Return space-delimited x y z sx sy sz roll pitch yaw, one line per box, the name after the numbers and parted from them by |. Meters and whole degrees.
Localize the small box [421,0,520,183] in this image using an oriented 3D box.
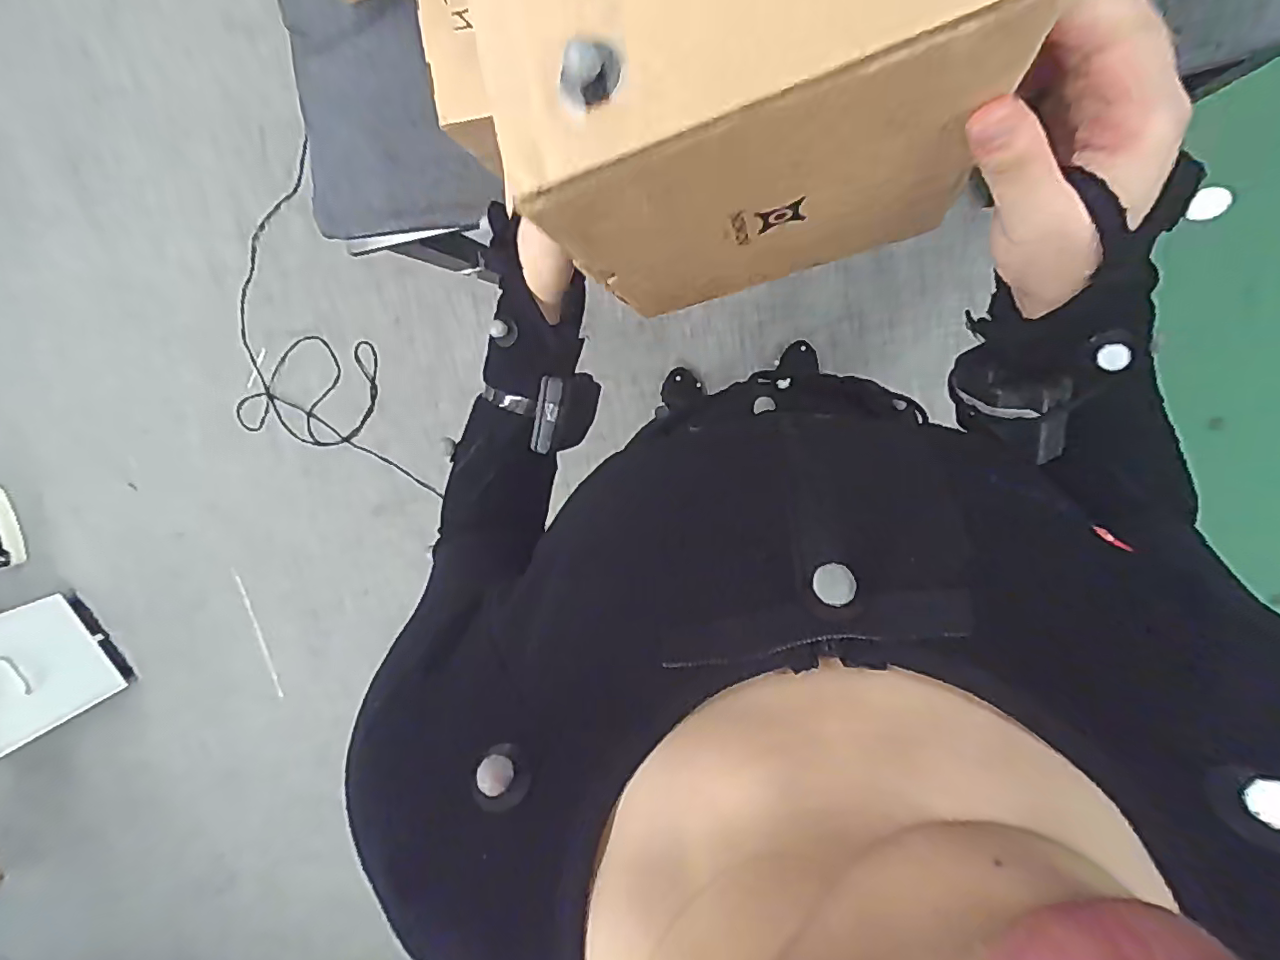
-0.113 -0.453 0.599 0.179 0.176 0.168 -5 101 10 | small box

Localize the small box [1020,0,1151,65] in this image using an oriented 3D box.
0.394 -0.527 0.504 0.168 0.176 0.179 -6 100 11 | small box
